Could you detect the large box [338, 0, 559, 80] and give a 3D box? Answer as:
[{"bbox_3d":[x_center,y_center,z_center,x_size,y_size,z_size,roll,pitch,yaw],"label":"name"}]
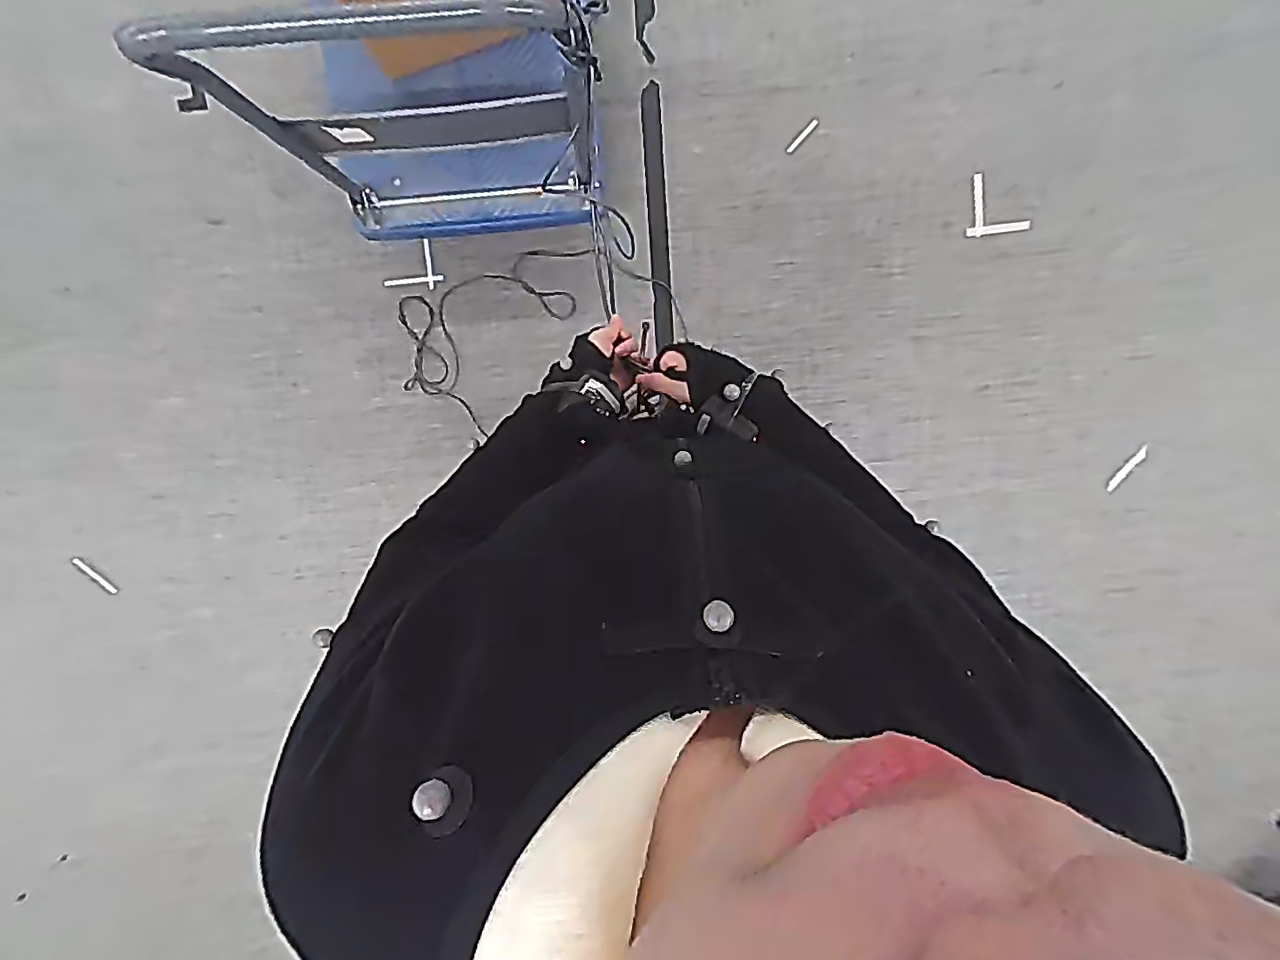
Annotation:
[{"bbox_3d":[-0.402,-1.053,1.006,0.408,0.320,0.320,-20,99,-1],"label":"large box"}]
